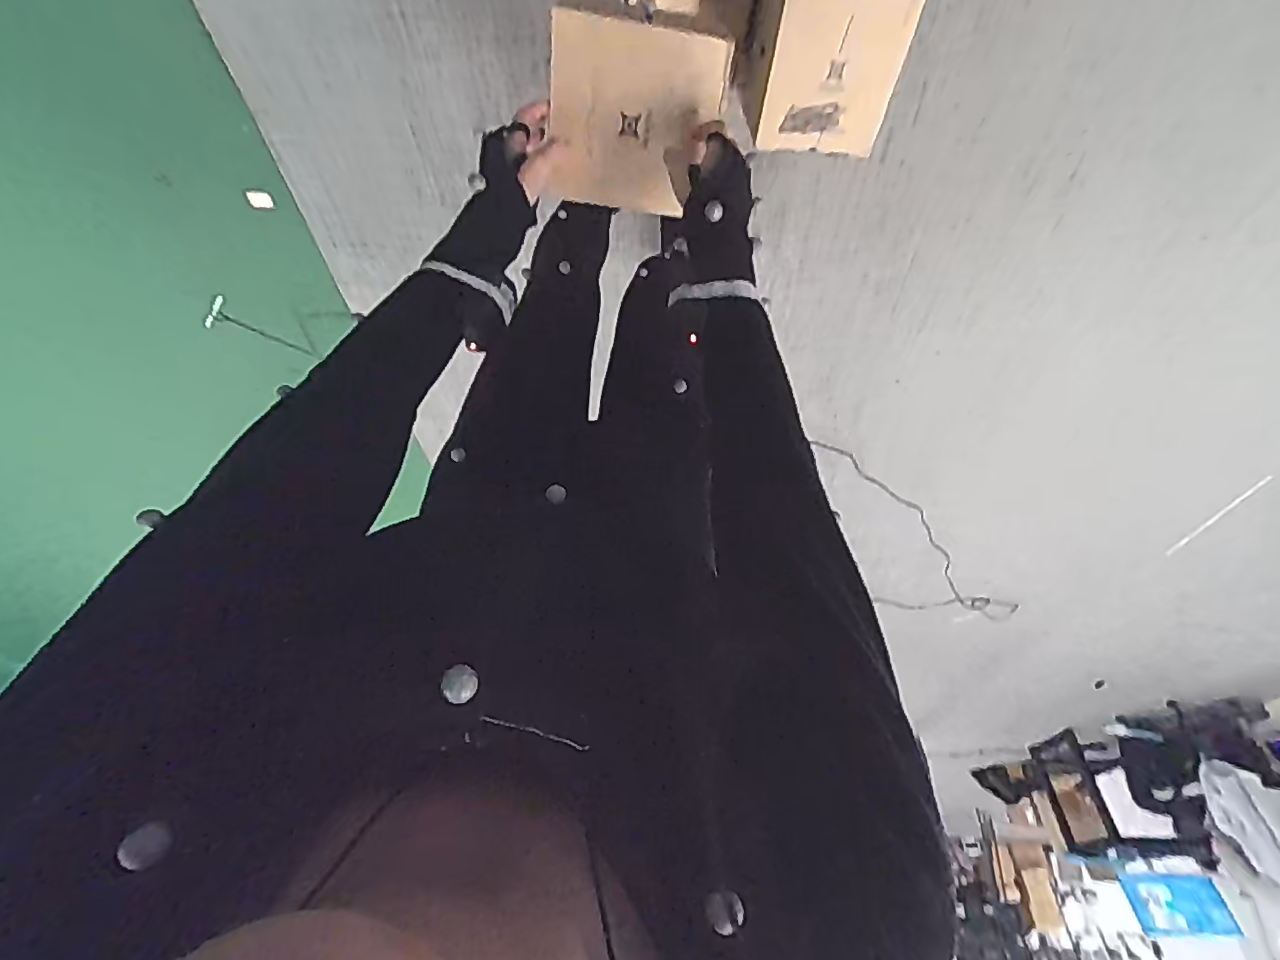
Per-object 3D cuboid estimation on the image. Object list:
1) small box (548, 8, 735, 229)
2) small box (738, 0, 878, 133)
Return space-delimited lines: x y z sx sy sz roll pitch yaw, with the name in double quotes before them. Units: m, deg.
"small box" -0.008 -0.413 0.618 0.179 0.176 0.168 6 135 -7
"small box" 0.252 -0.681 0.860 0.168 0.176 0.179 -1 141 2
